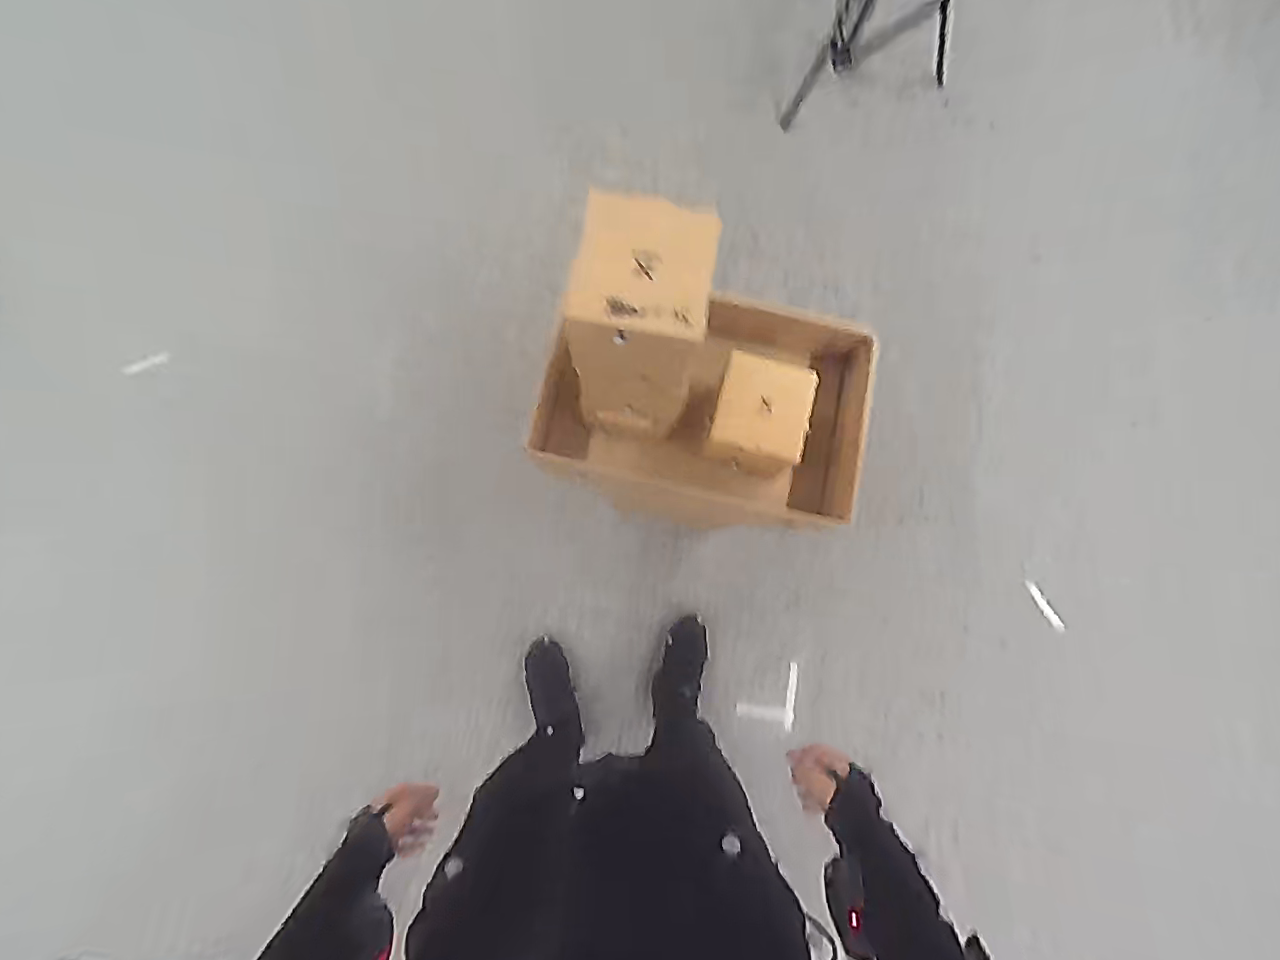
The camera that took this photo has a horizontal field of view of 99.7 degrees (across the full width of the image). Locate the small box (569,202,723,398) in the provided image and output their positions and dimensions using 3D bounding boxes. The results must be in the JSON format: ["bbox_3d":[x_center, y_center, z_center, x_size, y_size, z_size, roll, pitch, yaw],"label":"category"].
[{"bbox_3d":[0.005,-0.234,0.736,0.168,0.176,0.179,10,77,0],"label":"small box"}]

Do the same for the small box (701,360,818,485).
[{"bbox_3d":[0.225,-0.104,1.059,0.168,0.176,0.179,15,79,1],"label":"small box"}]

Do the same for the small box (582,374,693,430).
[{"bbox_3d":[0.003,-0.199,0.897,0.168,0.176,0.179,11,79,0],"label":"small box"}]
